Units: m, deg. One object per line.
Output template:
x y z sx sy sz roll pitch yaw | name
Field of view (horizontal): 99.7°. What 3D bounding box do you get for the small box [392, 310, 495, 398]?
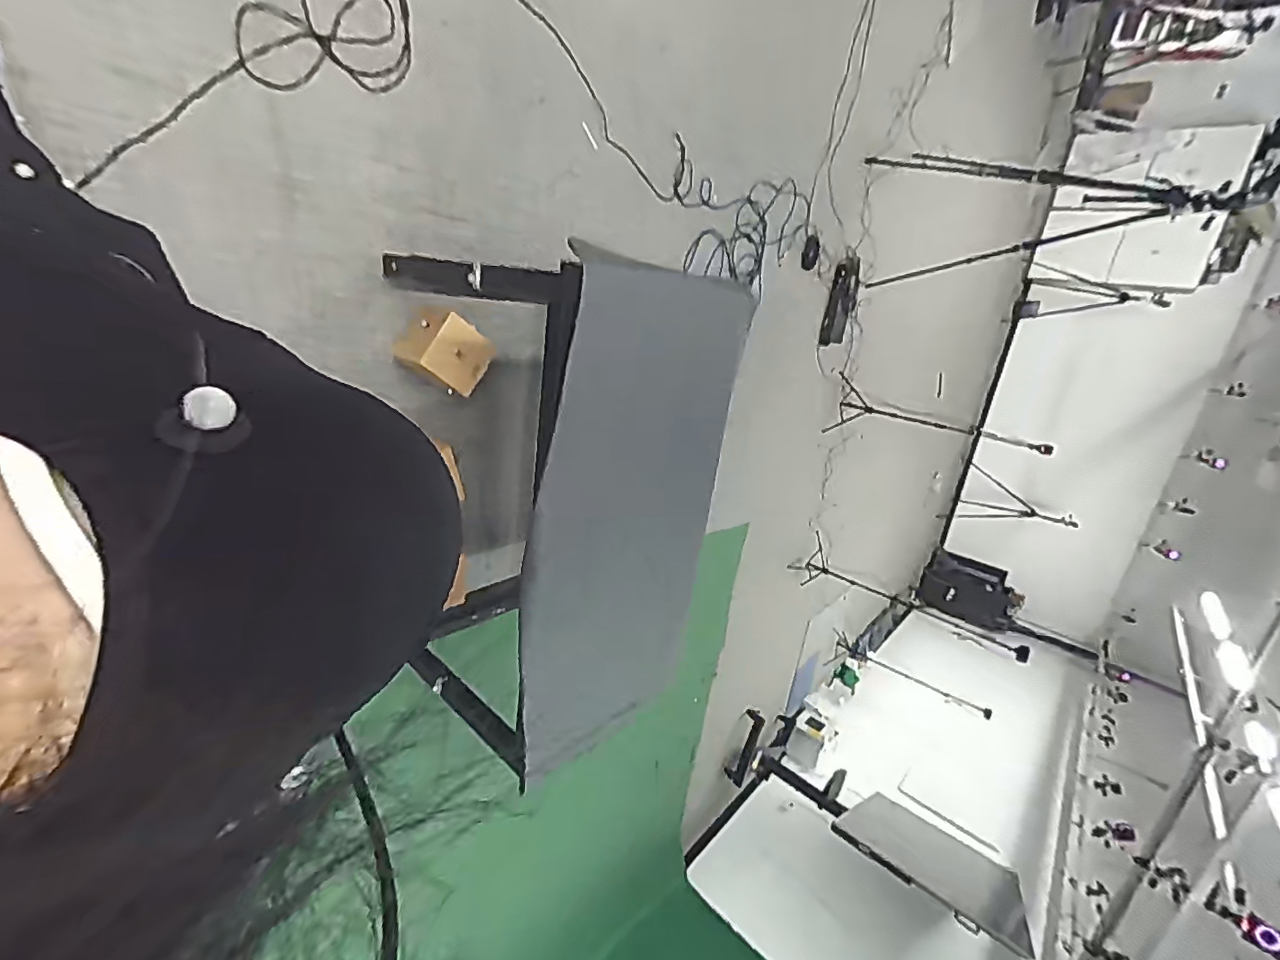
-0.546 -0.352 1.495 0.179 0.176 0.168 39 75 -52 | small box
